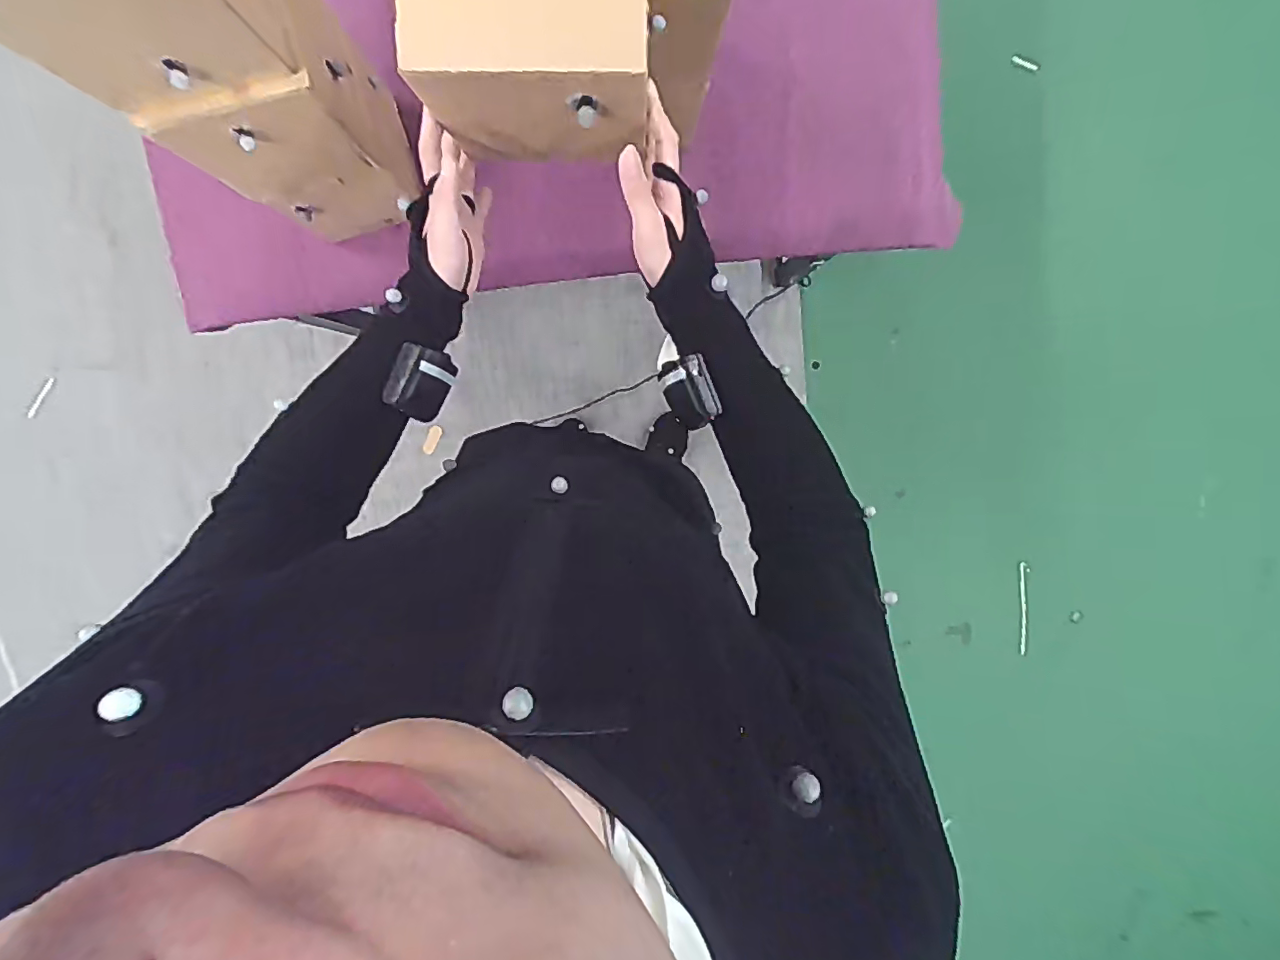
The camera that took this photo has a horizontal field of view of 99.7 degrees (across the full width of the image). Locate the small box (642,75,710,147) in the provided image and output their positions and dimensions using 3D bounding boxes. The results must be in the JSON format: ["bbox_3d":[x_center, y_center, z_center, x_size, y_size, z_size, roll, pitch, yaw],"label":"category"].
[{"bbox_3d":[0.000,-0.585,0.745,0.179,0.176,0.168,-1,98,-3],"label":"small box"}]

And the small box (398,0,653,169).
[{"bbox_3d":[-0.079,-0.373,0.441,0.179,0.176,0.168,0,101,0],"label":"small box"}]

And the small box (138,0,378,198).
[{"bbox_3d":[-0.412,-0.436,0.586,0.179,0.176,0.168,-14,97,1],"label":"small box"}]

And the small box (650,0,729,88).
[{"bbox_3d":[0.004,-0.558,0.584,0.179,0.176,0.168,-1,99,-2],"label":"small box"}]

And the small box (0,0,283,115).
[{"bbox_3d":[-0.419,-0.428,0.422,0.179,0.176,0.168,-13,97,0],"label":"small box"}]
